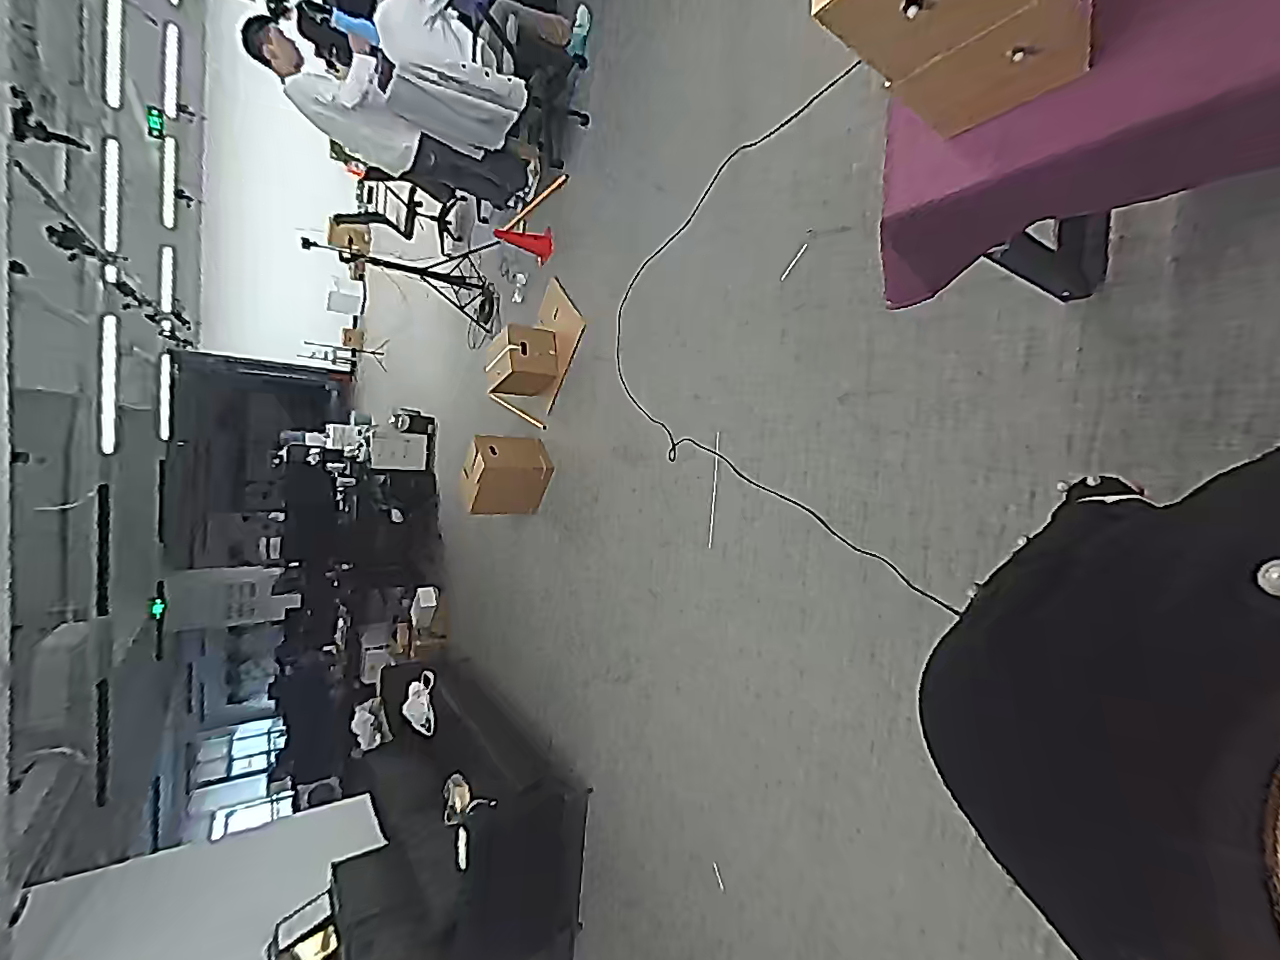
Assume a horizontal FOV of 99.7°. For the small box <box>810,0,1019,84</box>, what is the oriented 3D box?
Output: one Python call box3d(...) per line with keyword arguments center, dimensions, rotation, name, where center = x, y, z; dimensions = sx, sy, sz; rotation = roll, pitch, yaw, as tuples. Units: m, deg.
box3d(center=(0.310, -0.591, 0.590), dimensions=(0.179, 0.176, 0.168), rotation=(1, 89, 54), name="small box")
